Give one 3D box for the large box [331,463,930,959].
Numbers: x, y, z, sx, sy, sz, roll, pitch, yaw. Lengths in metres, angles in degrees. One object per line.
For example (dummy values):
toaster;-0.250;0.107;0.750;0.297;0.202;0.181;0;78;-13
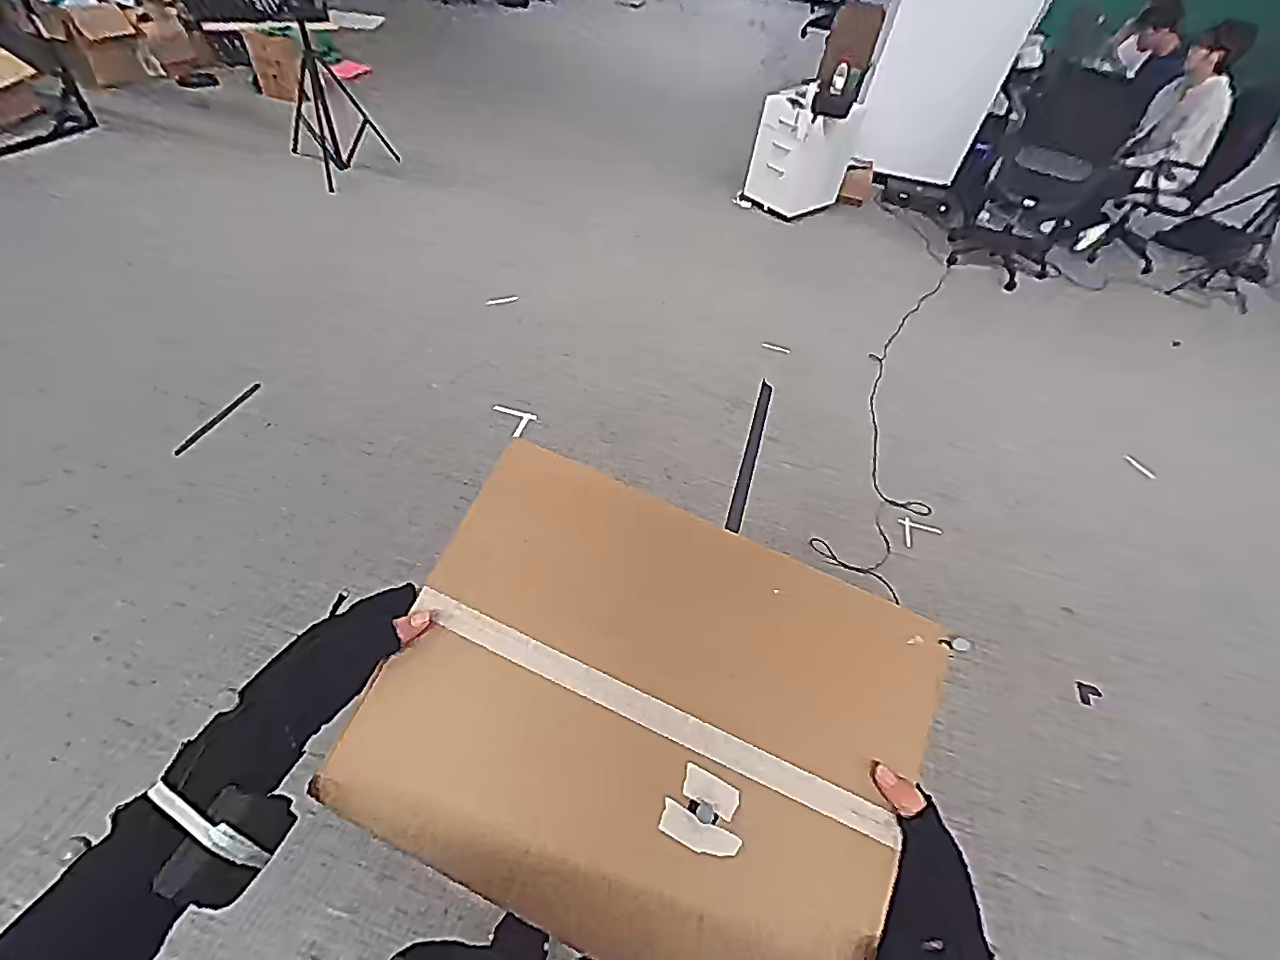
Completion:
large box;0.000;0.236;0.572;0.408;0.320;0.320;24;72;7
